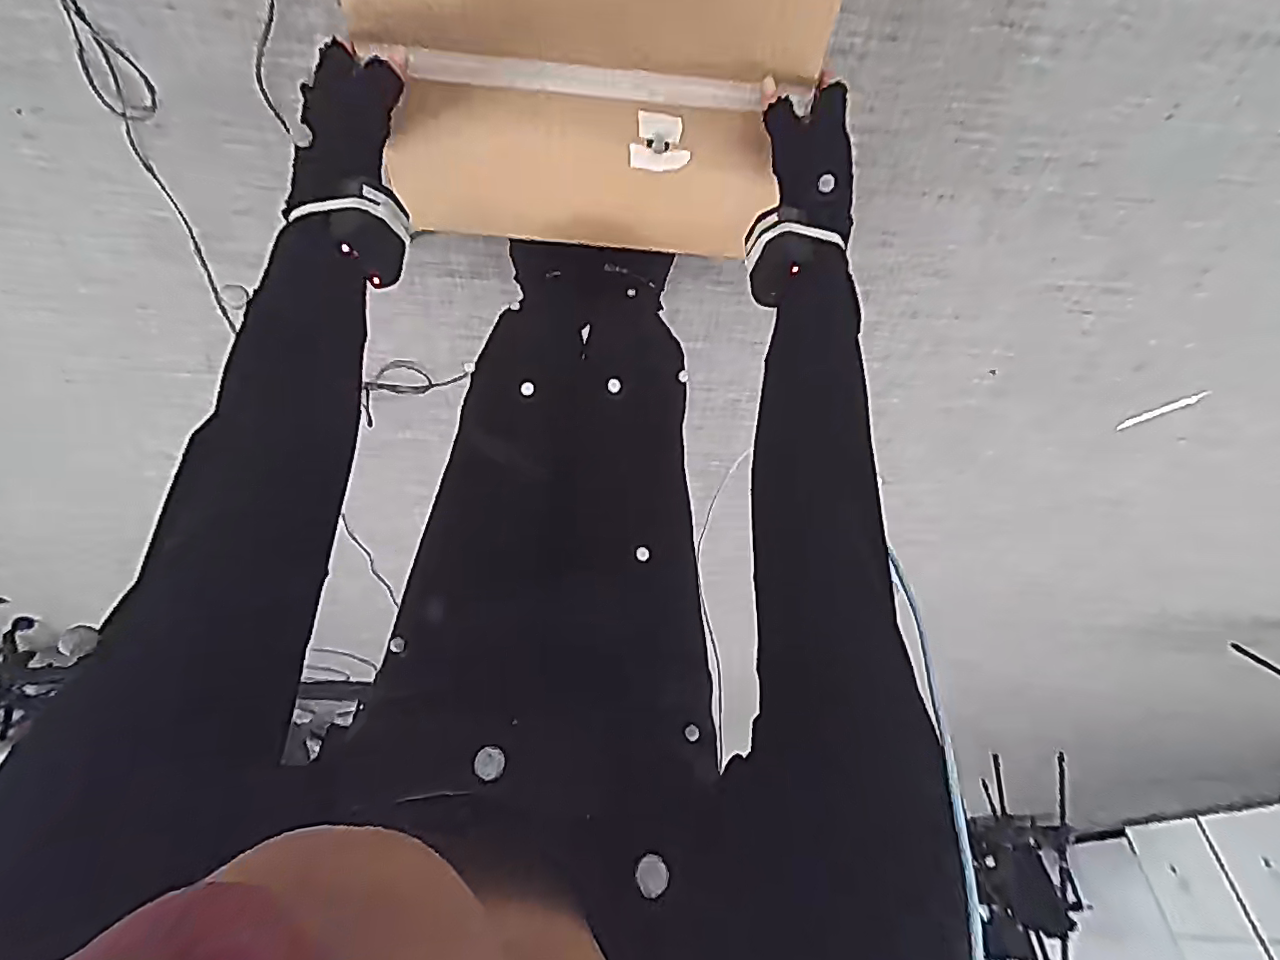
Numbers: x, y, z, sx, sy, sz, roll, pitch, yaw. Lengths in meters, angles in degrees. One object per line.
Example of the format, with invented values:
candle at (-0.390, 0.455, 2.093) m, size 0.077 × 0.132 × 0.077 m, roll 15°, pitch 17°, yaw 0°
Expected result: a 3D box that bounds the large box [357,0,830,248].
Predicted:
large box at (-0.044, -0.484, 0.587) m, size 0.408 × 0.320 × 0.320 m, roll 3°, pitch 142°, yaw -4°
